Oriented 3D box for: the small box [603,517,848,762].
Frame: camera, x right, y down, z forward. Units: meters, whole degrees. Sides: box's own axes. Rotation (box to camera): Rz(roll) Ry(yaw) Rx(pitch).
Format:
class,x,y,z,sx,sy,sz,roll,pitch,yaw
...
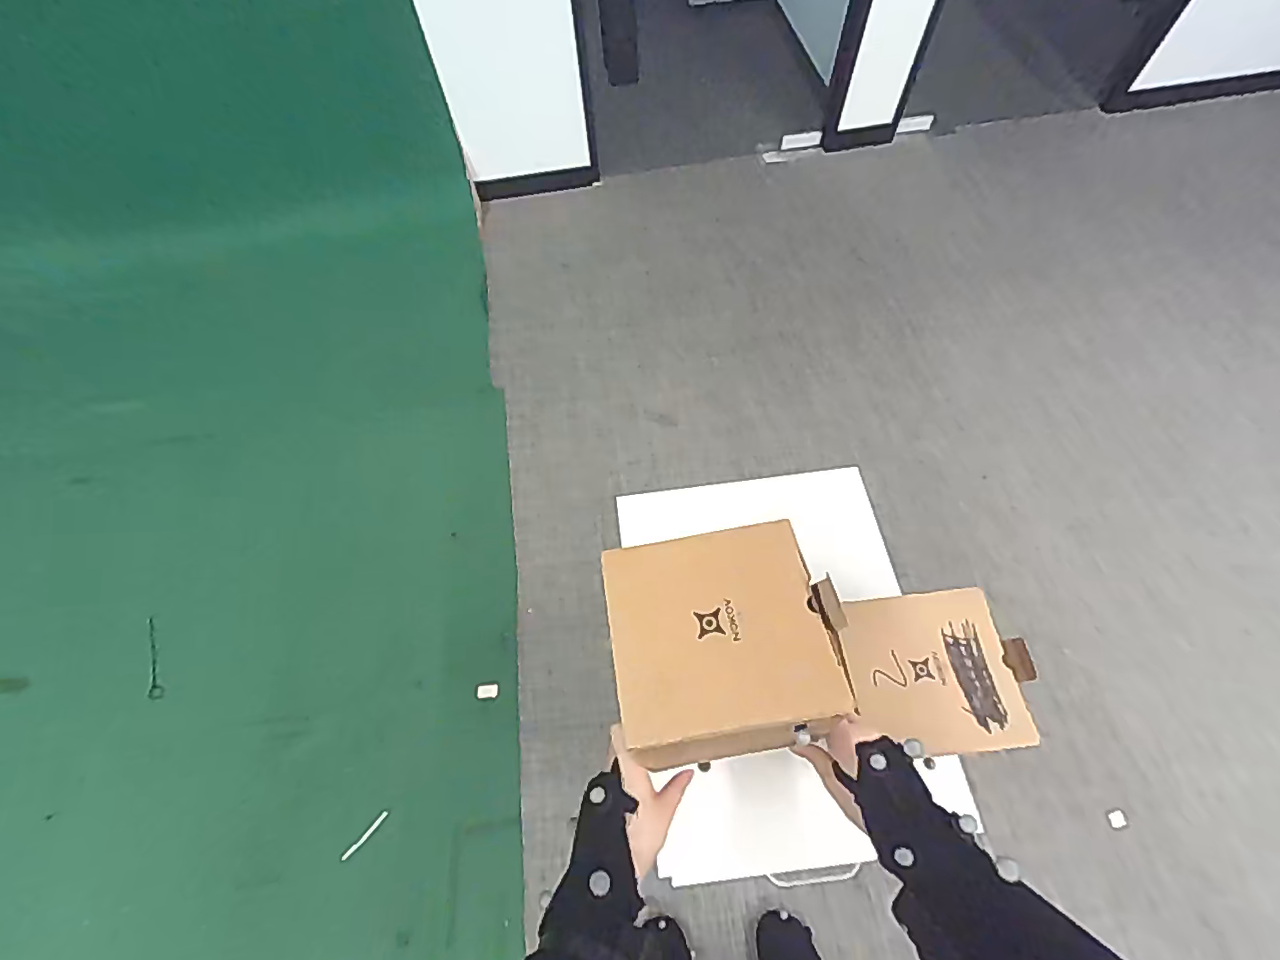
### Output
class,x,y,z,sx,sy,sz,roll,pitch,yaw
small box,0.069,0.158,0.515,0.179,0.176,0.168,-9,56,-1
